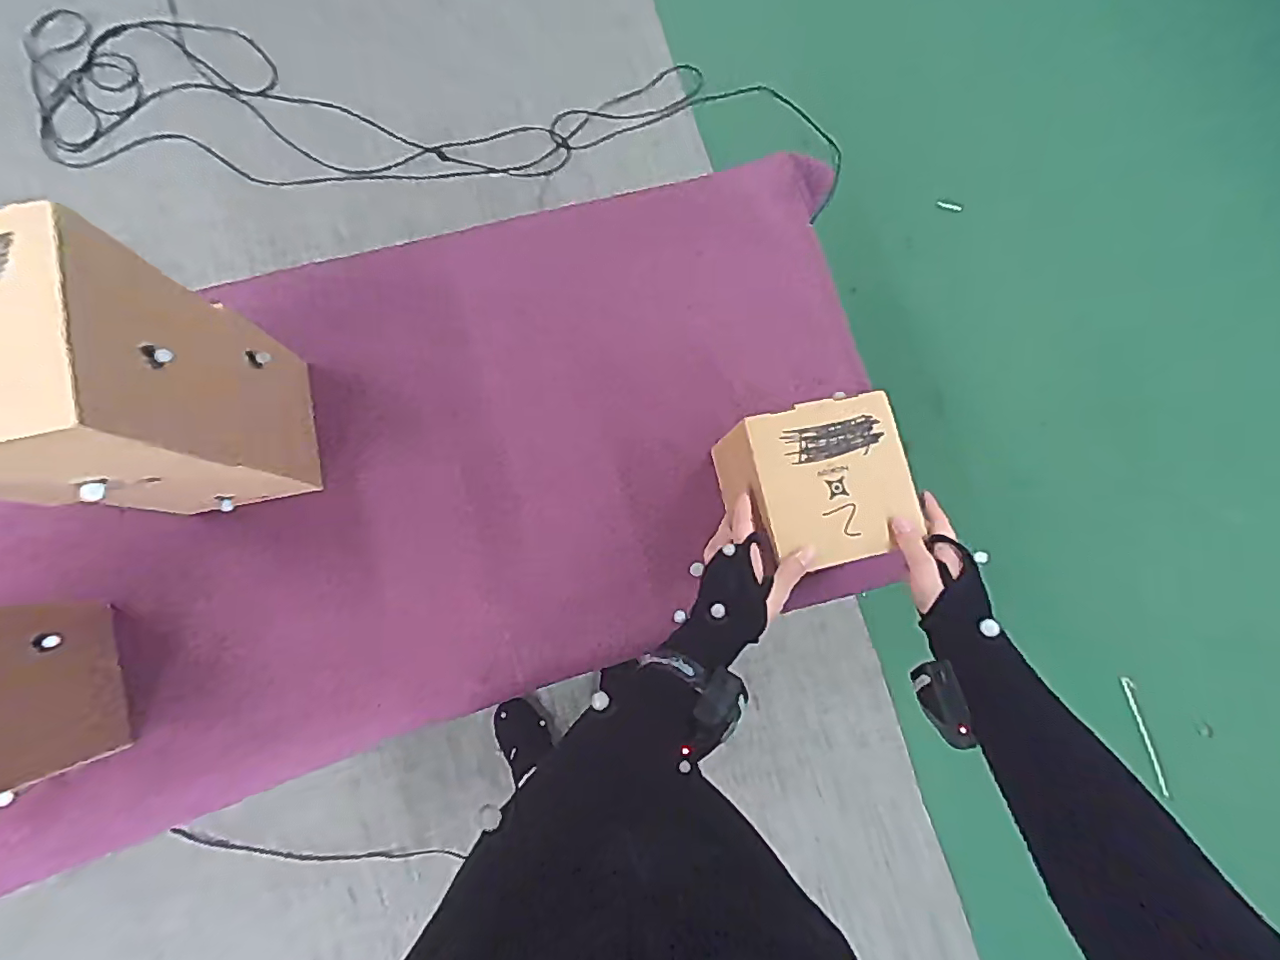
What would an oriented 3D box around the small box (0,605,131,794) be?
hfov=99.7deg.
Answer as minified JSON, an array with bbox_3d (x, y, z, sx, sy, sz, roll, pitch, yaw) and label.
[{"bbox_3d":[-0.679,0.232,0.548,0.168,0.176,0.179,-16,82,-7],"label":"small box"}]

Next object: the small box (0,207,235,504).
[{"bbox_3d":[-0.482,-0.087,0.450,0.168,0.176,0.179,-13,83,-7],"label":"small box"}]

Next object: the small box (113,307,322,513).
[{"bbox_3d":[-0.491,-0.068,0.612,0.168,0.176,0.179,-11,82,-6],"label":"small box"}]
